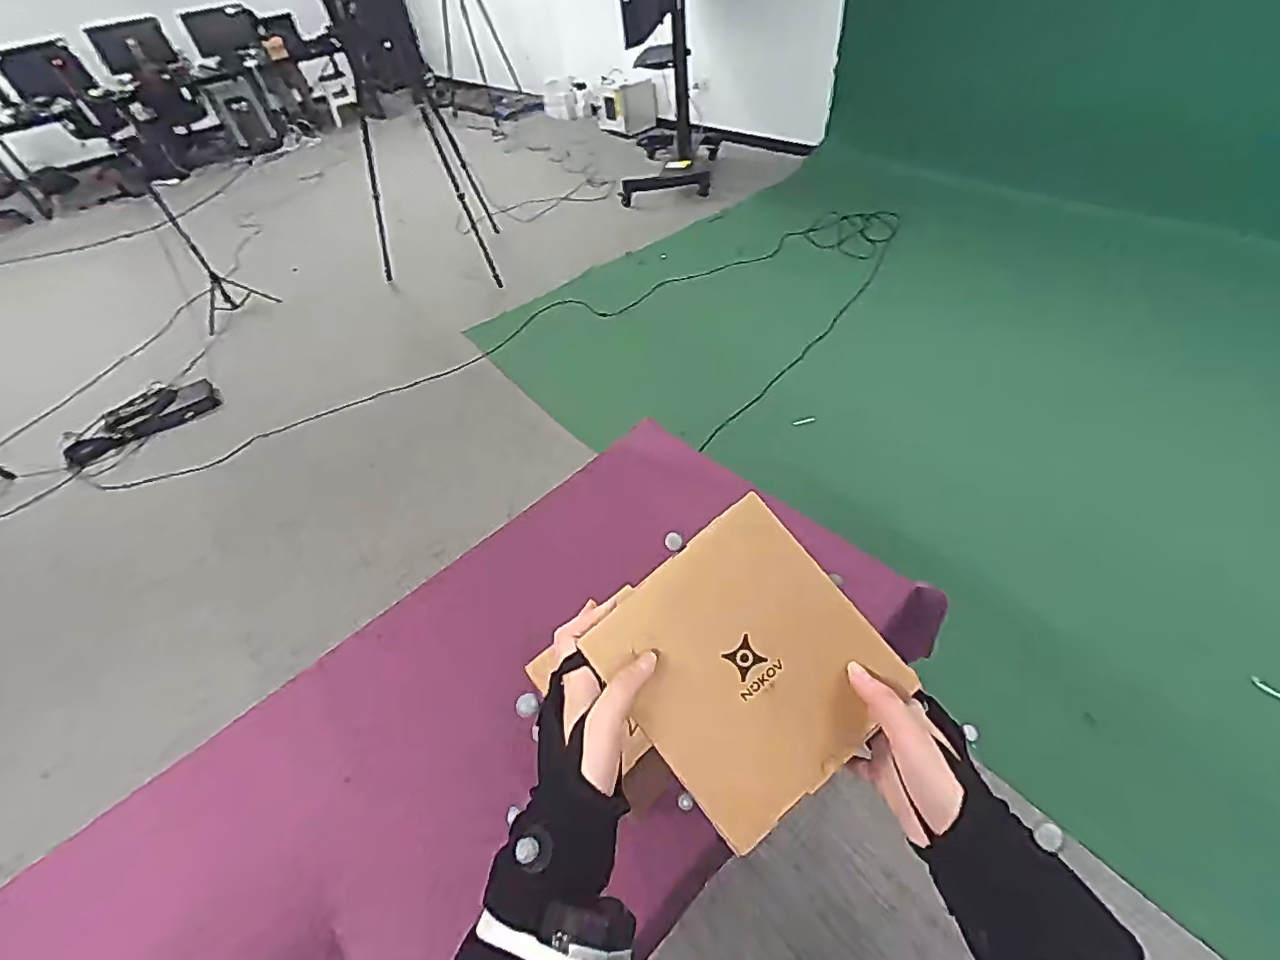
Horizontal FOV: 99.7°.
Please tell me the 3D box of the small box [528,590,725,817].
[{"bbox_3d":[-0.012,0.282,0.682,0.168,0.176,0.179,-35,52,-22],"label":"small box"}]
